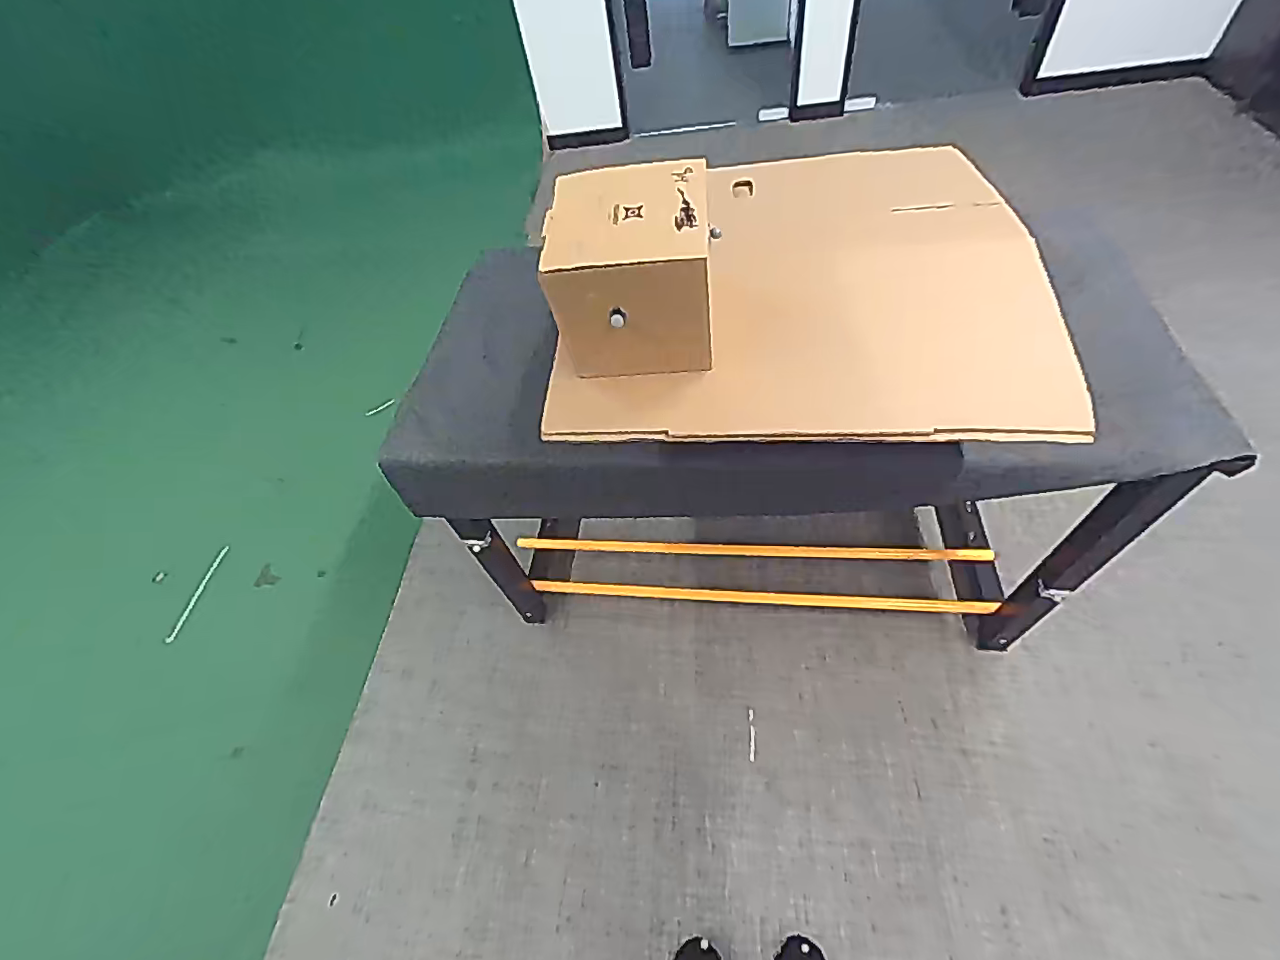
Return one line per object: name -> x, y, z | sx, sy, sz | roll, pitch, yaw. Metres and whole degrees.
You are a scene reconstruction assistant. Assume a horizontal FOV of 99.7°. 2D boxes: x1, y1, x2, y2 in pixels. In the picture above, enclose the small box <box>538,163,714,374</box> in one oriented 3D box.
small box -> -0.003, -0.243, 0.651 | 0.179, 0.176, 0.168 | -2, 61, 9
